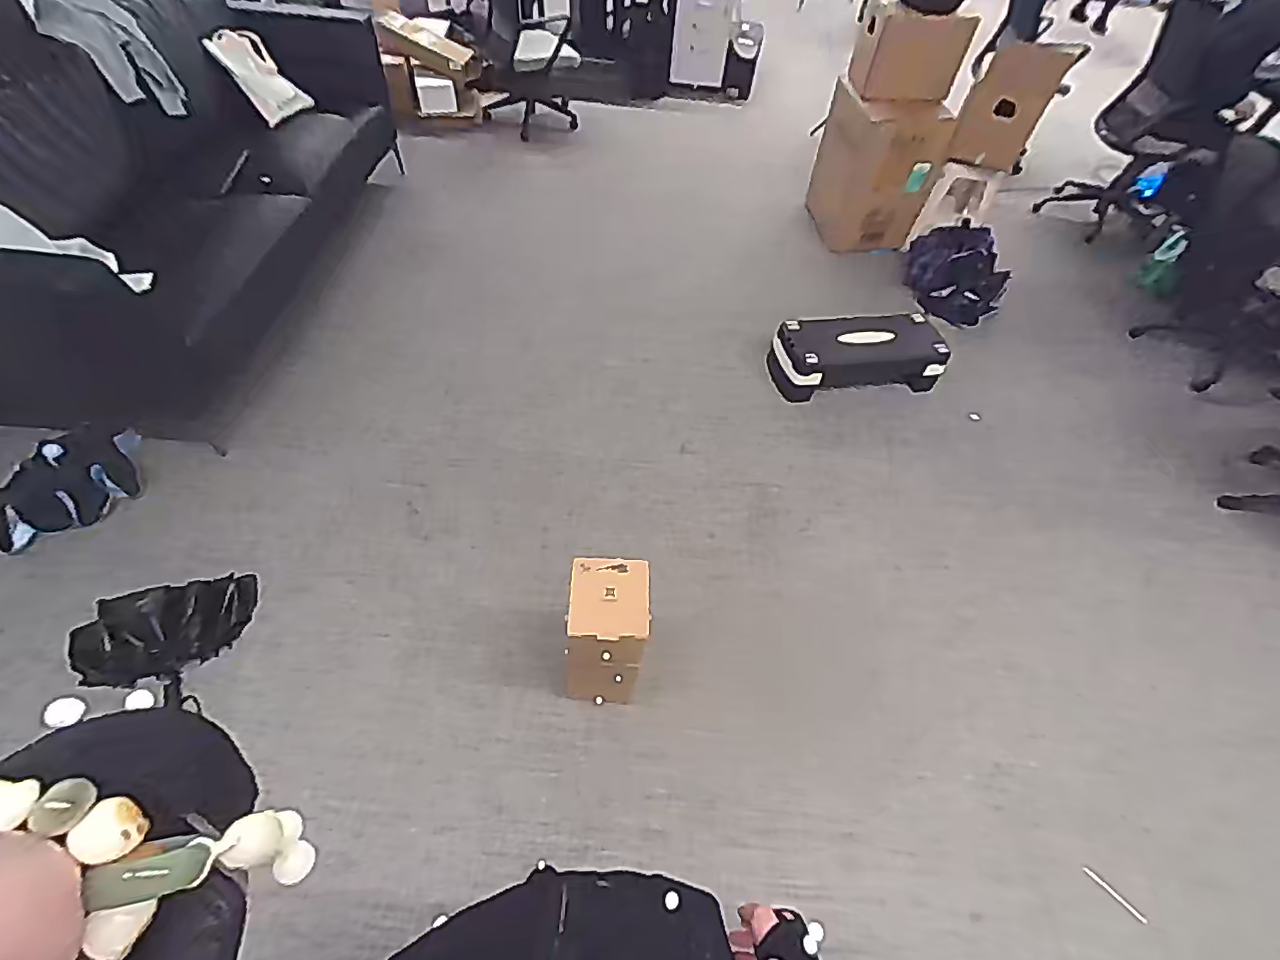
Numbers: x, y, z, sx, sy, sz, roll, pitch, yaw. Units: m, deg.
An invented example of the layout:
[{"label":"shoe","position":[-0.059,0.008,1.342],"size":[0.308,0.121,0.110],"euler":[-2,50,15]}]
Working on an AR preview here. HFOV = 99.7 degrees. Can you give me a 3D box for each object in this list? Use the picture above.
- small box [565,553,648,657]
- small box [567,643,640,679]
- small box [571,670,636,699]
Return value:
[{"label":"small box","position":[-0.070,0.277,1.180],"size":[0.168,0.176,0.179],"euler":[2,55,-3]},{"label":"small box","position":[-0.081,0.373,1.312],"size":[0.168,0.176,0.179],"euler":[4,53,-2]},{"label":"small box","position":[-0.091,0.467,1.443],"size":[0.168,0.176,0.179],"euler":[4,54,-1]}]
